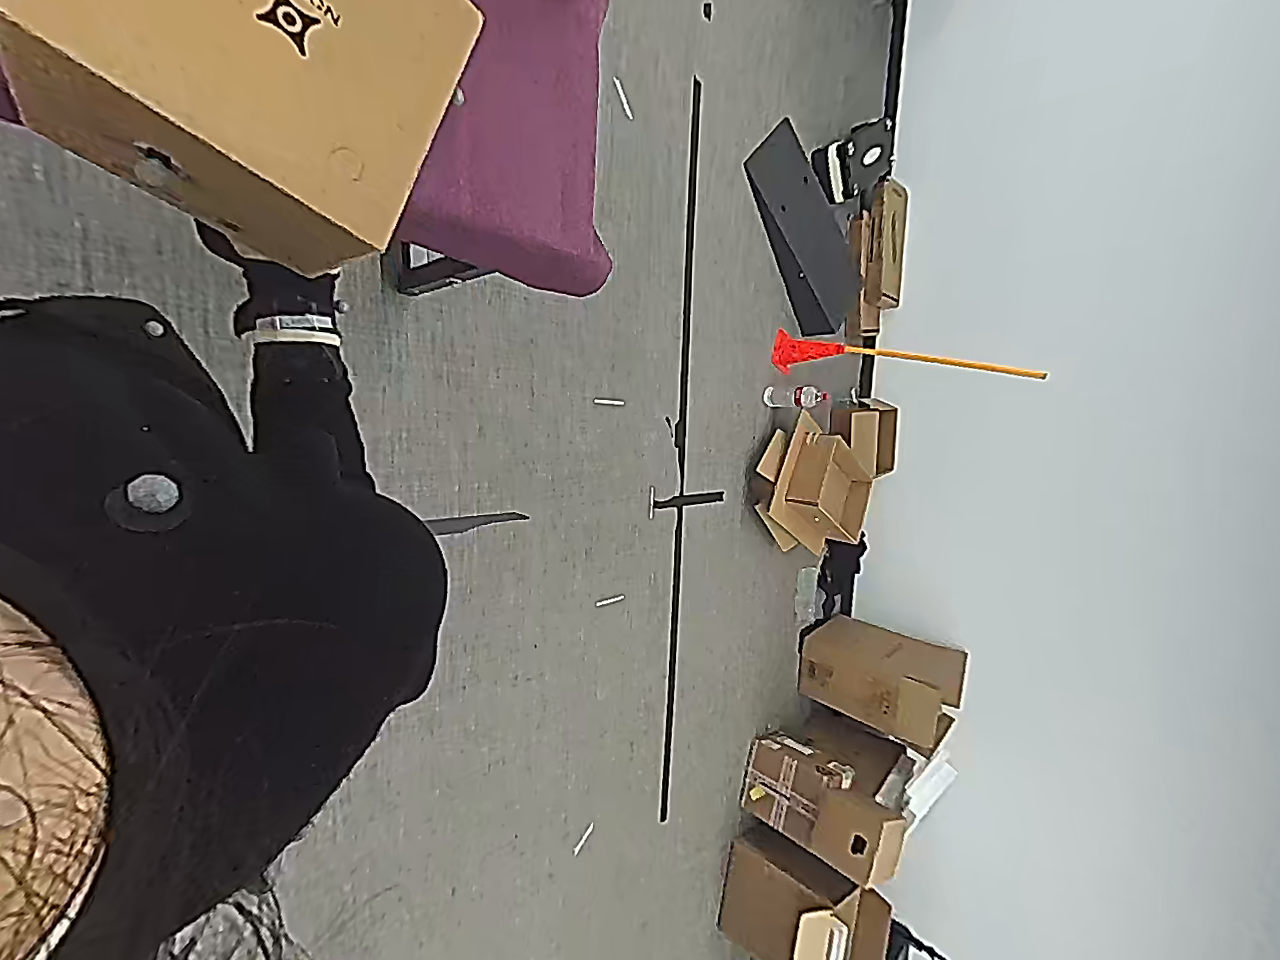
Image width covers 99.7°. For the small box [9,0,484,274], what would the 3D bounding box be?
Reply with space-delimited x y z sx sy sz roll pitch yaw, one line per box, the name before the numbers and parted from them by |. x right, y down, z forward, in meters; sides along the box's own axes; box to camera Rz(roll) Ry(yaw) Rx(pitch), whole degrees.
small box | -0.236 -0.256 0.345 0.168 0.176 0.179 26 80 -45
